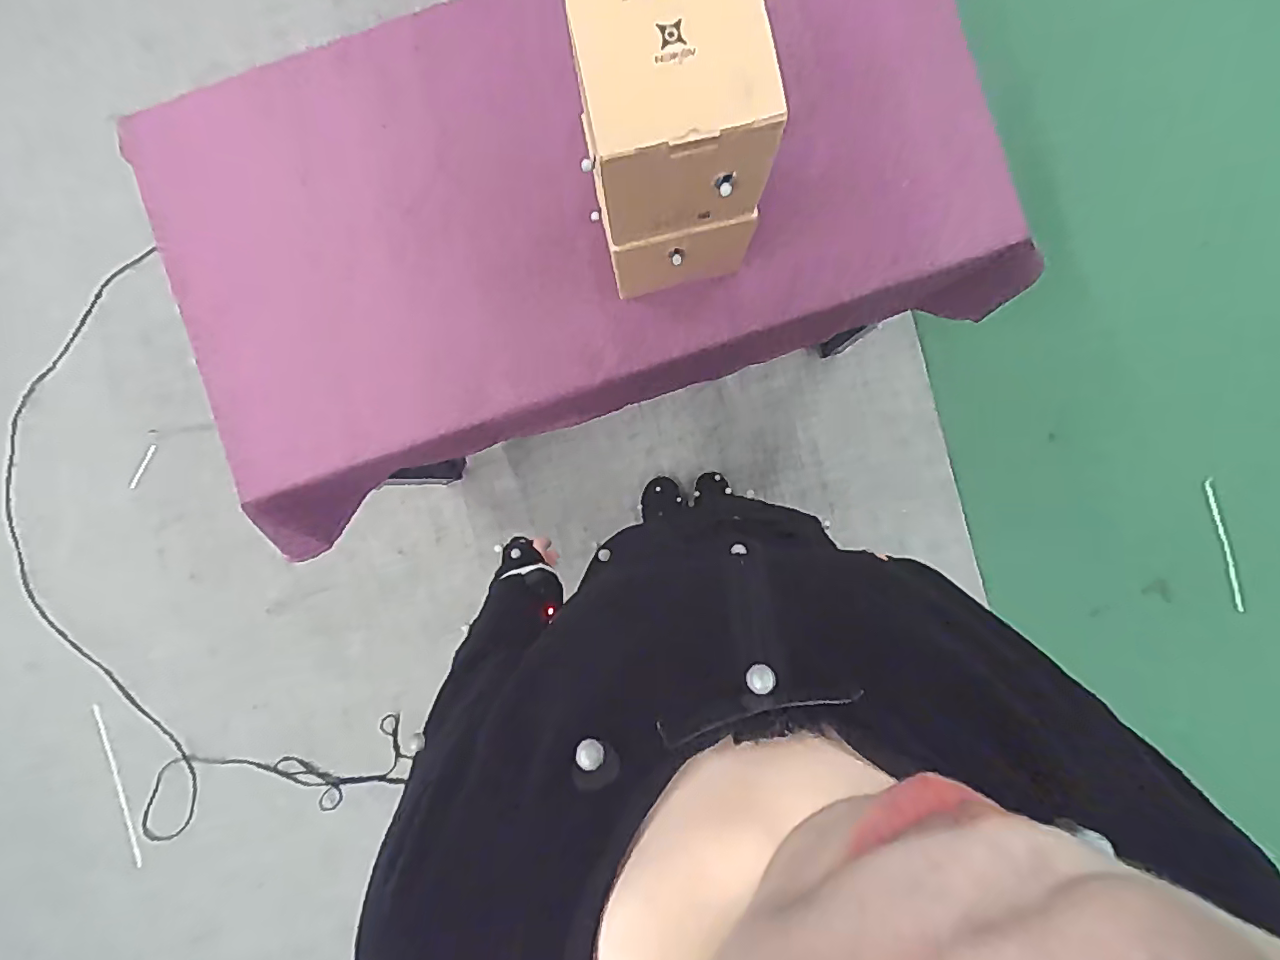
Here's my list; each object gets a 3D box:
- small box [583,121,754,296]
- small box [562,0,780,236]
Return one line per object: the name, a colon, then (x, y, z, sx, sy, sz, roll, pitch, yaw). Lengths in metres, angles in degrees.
small box: (0.037, -0.358, 0.705, 0.179, 0.176, 0.168, -12, 90, 2)
small box: (0.028, -0.369, 0.542, 0.168, 0.176, 0.179, -11, 88, 2)
